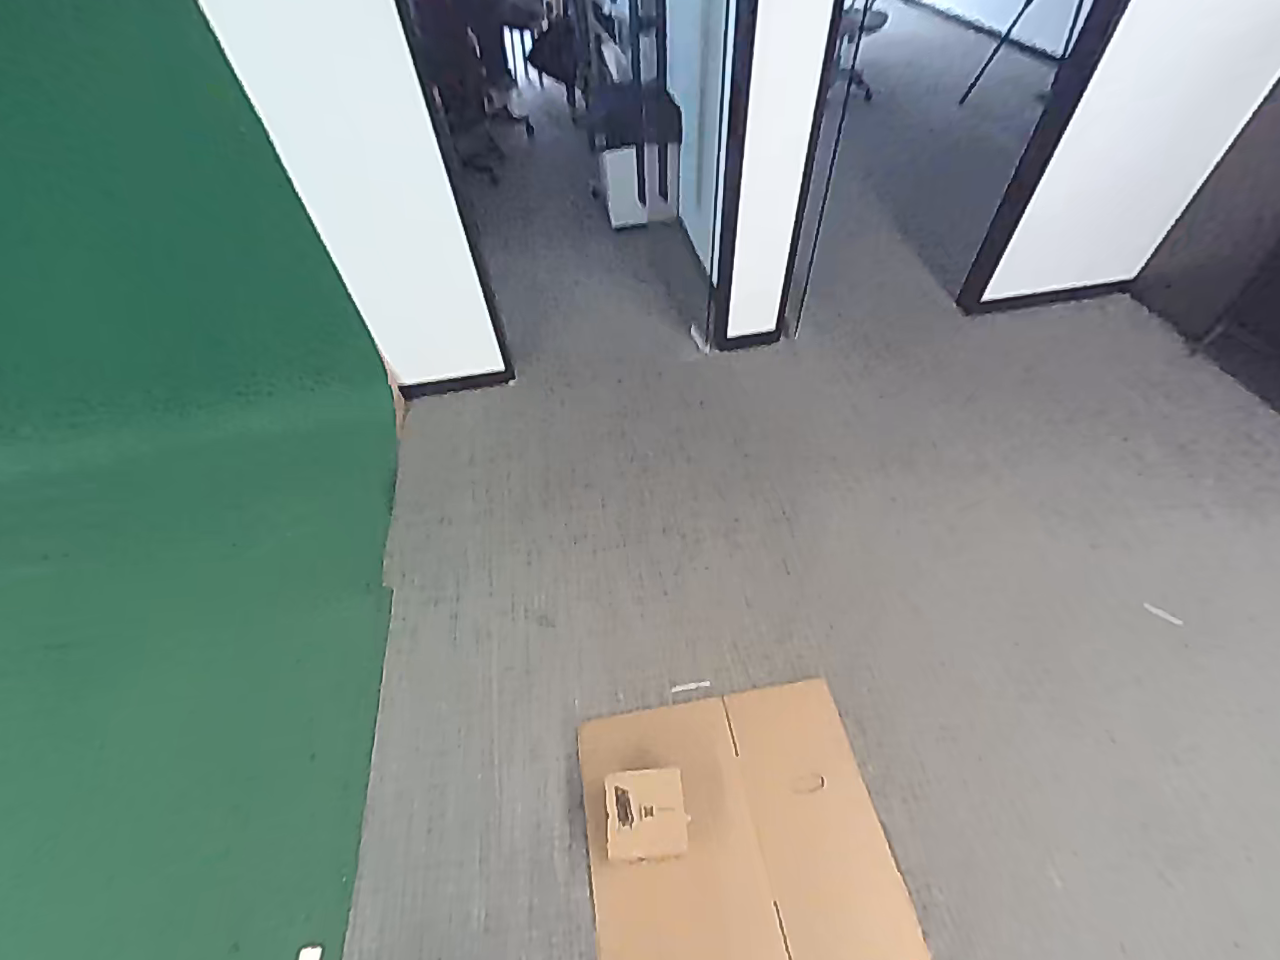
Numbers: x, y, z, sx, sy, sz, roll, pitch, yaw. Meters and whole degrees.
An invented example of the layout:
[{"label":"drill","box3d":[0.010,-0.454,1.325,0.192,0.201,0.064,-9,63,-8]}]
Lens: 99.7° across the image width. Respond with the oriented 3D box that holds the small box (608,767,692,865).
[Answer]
[{"label":"small box","box3d":[0.023,0.778,1.249,0.179,0.176,0.168,-5,51,-1]}]
